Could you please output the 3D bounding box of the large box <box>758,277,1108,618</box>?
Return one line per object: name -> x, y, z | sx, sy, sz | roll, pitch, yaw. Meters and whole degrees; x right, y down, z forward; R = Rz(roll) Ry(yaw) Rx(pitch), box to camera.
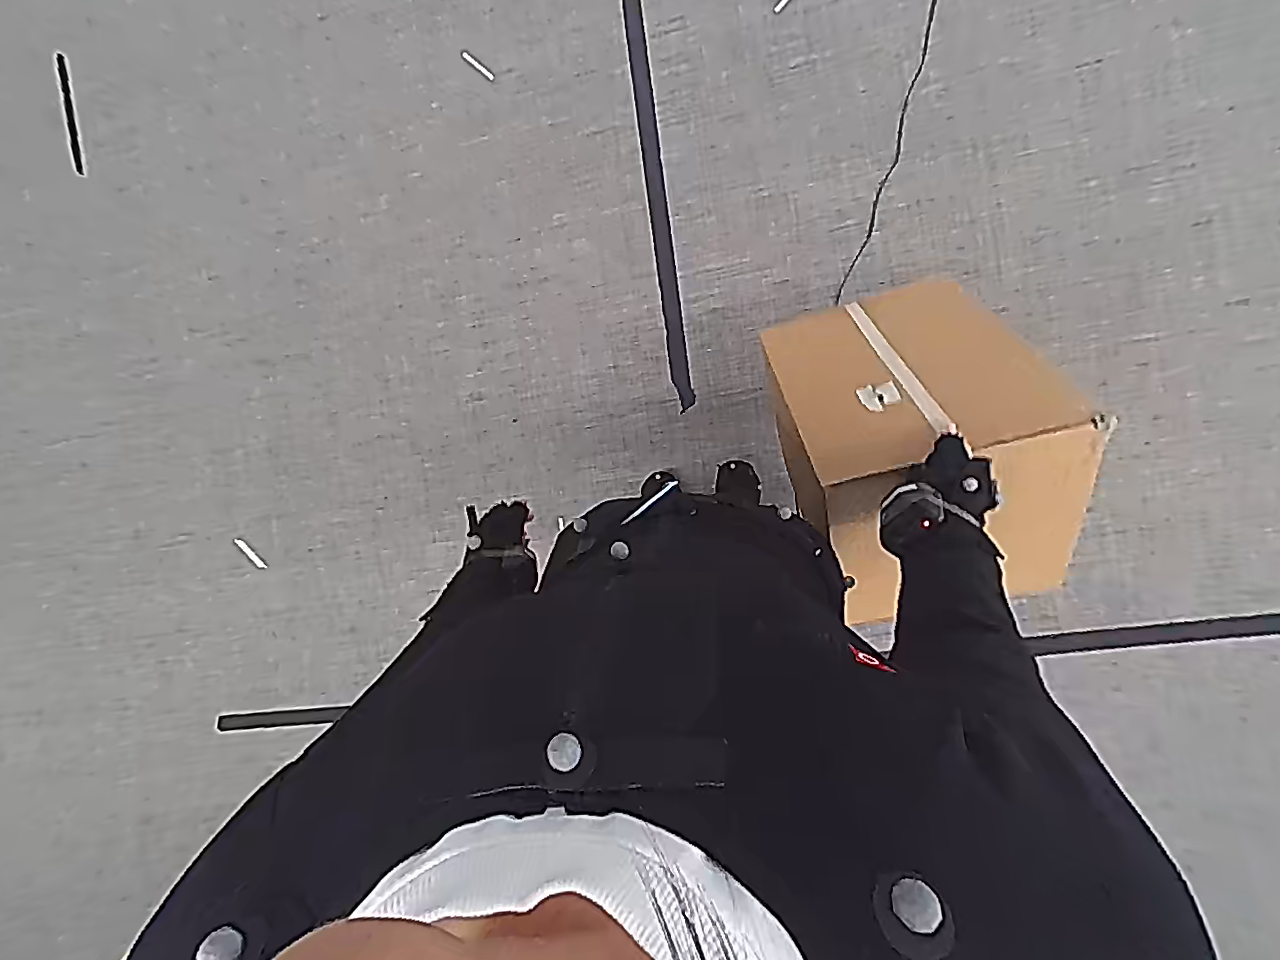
large box -> 0.404, -0.057, 0.861 | 0.320, 0.408, 0.320 | -16, 132, 11
